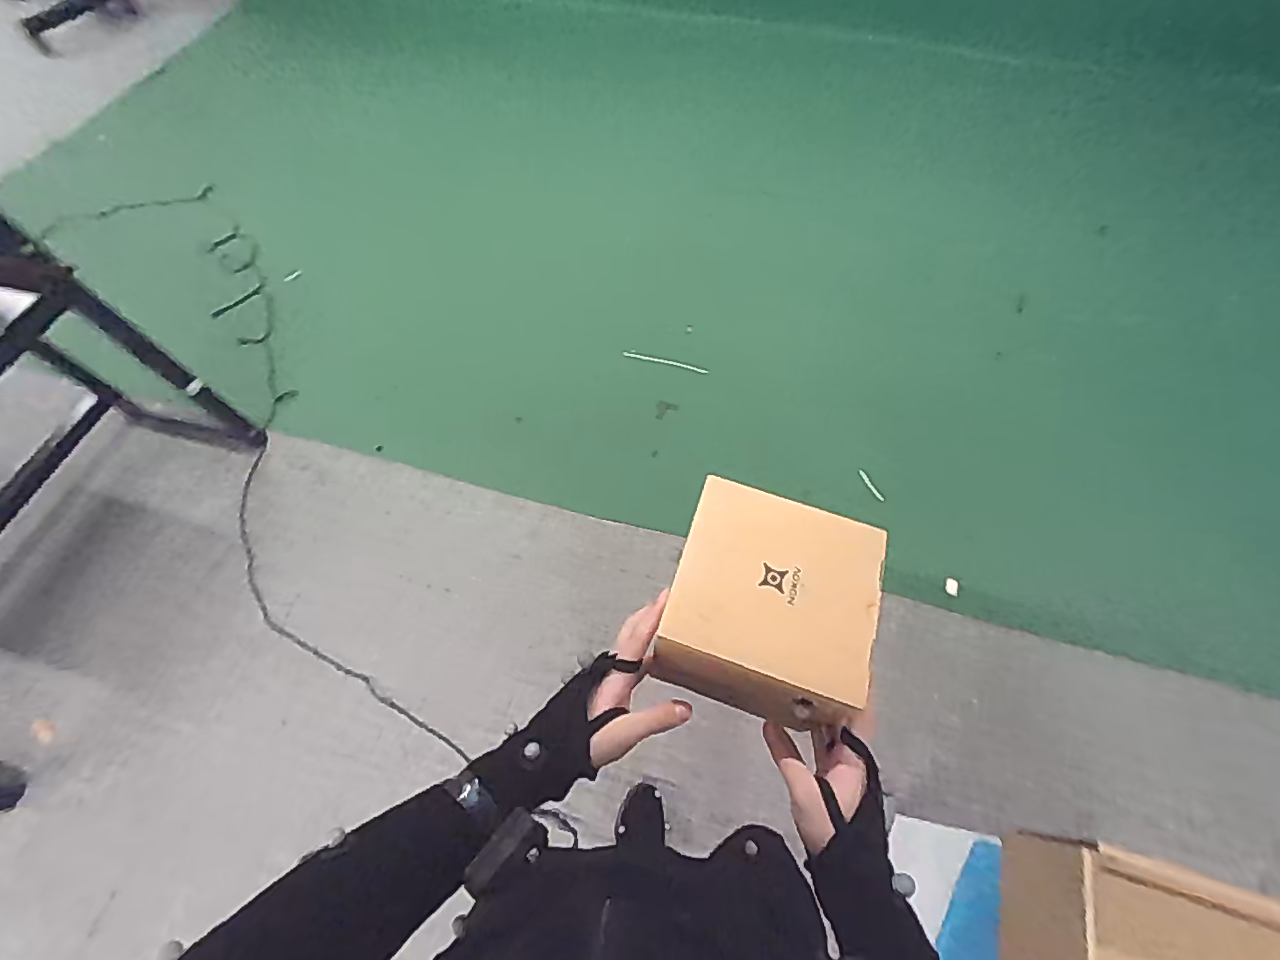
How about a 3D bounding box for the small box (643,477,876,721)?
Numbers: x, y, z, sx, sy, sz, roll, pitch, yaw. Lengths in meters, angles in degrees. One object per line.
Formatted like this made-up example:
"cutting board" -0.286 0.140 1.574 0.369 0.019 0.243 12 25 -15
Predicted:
"small box" 0.109 0.127 0.540 0.179 0.176 0.168 17 61 6
